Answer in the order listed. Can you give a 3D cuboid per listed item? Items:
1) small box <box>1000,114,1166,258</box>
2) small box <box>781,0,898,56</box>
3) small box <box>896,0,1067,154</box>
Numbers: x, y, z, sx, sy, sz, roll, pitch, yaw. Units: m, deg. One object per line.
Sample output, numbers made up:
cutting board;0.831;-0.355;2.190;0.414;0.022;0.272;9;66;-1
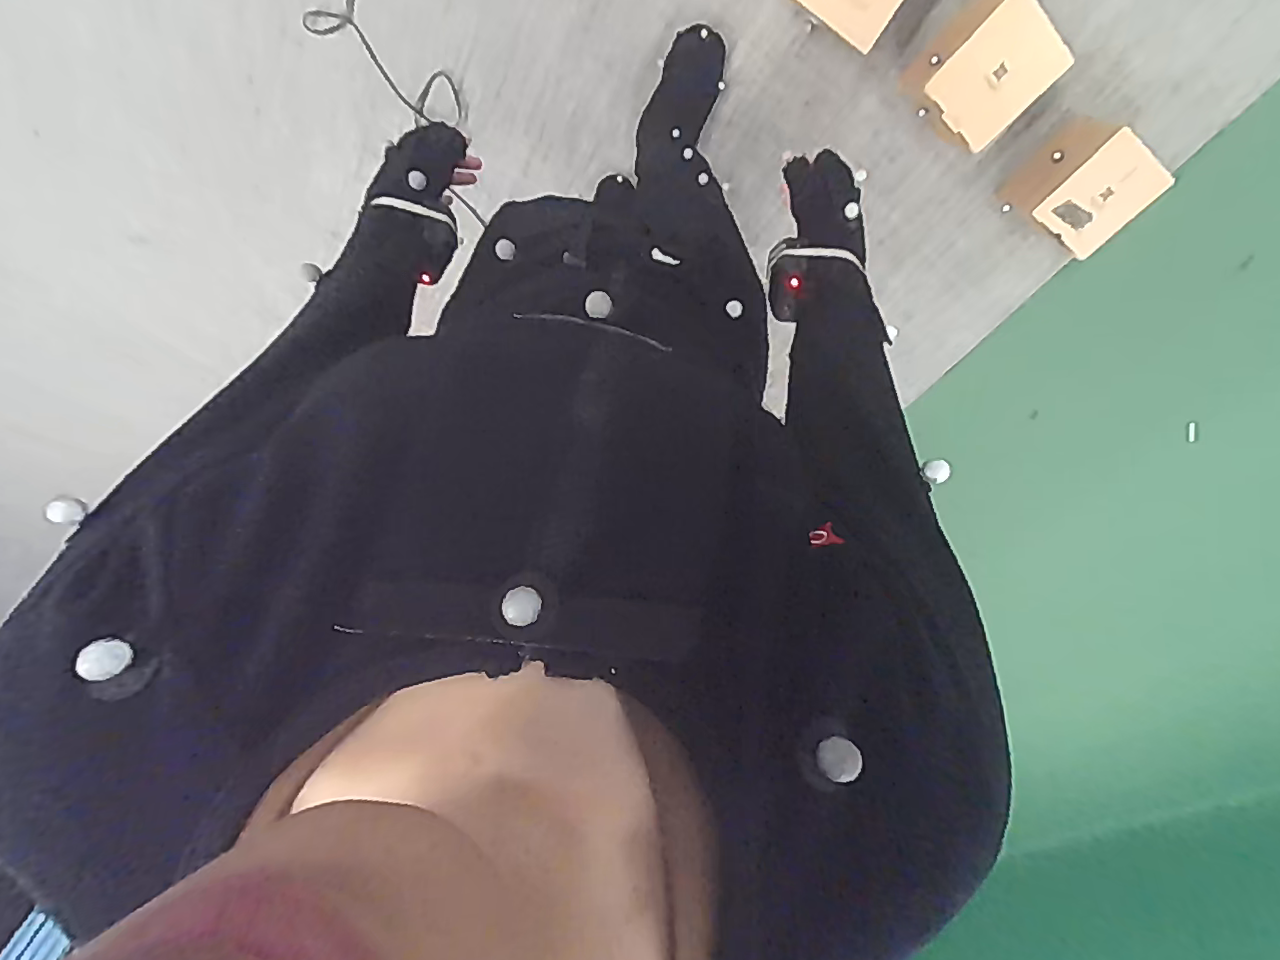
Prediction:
small box;0.862;-0.587;1.079;0.168;0.176;0.179;28;127;-18
small box;0.351;-0.853;0.898;0.168;0.176;0.179;26;130;-14
small box;0.600;-0.738;0.974;0.168;0.176;0.179;32;127;-21
